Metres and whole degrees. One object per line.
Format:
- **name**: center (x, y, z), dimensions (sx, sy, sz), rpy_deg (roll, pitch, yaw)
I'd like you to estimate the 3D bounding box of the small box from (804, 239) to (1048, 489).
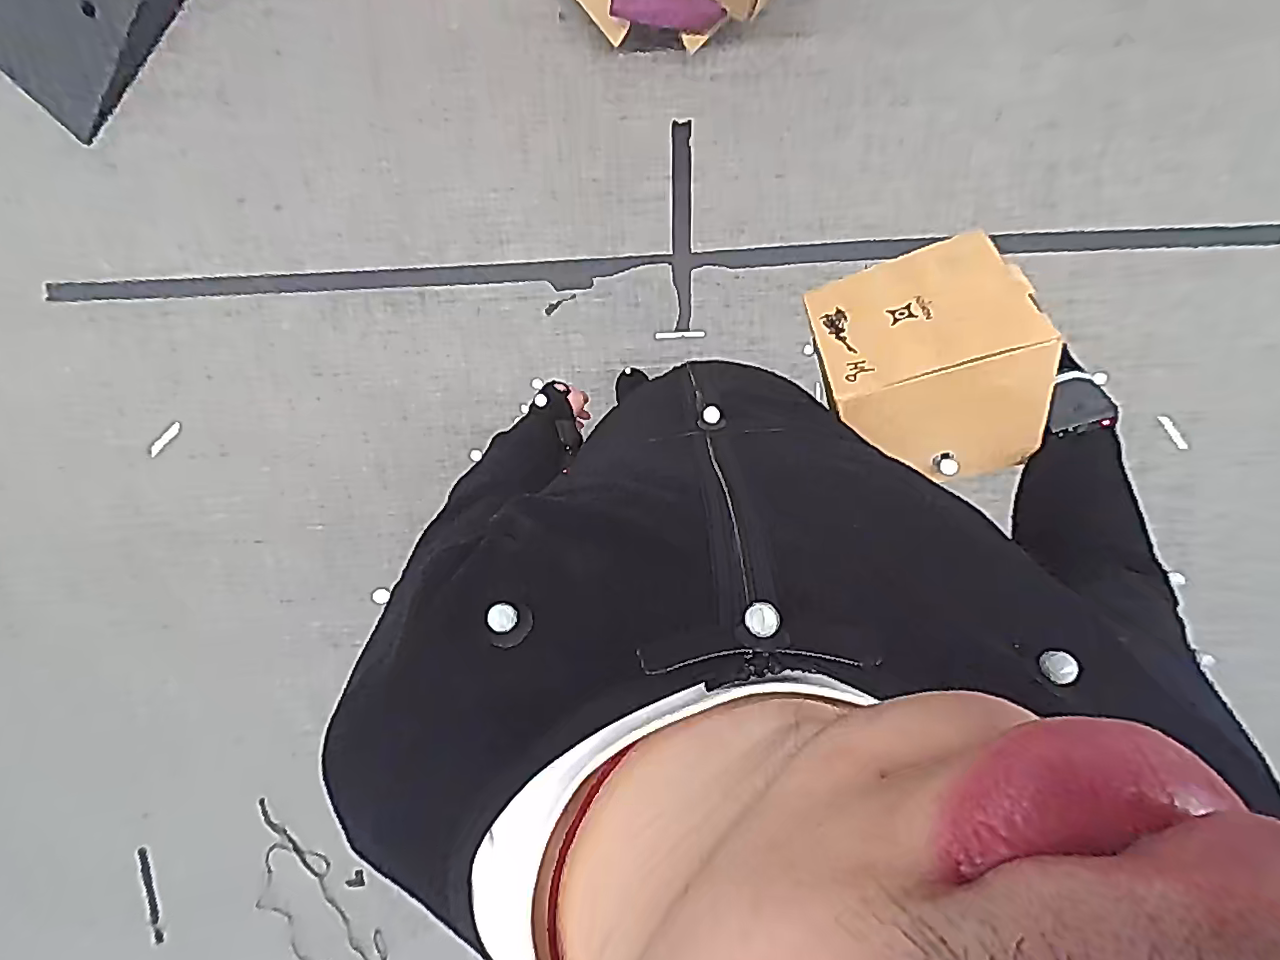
- **small box**: center (0.289, -0.114, 0.578), dimensions (0.179, 0.168, 0.176), rpy_deg (-15, 139, 18)
